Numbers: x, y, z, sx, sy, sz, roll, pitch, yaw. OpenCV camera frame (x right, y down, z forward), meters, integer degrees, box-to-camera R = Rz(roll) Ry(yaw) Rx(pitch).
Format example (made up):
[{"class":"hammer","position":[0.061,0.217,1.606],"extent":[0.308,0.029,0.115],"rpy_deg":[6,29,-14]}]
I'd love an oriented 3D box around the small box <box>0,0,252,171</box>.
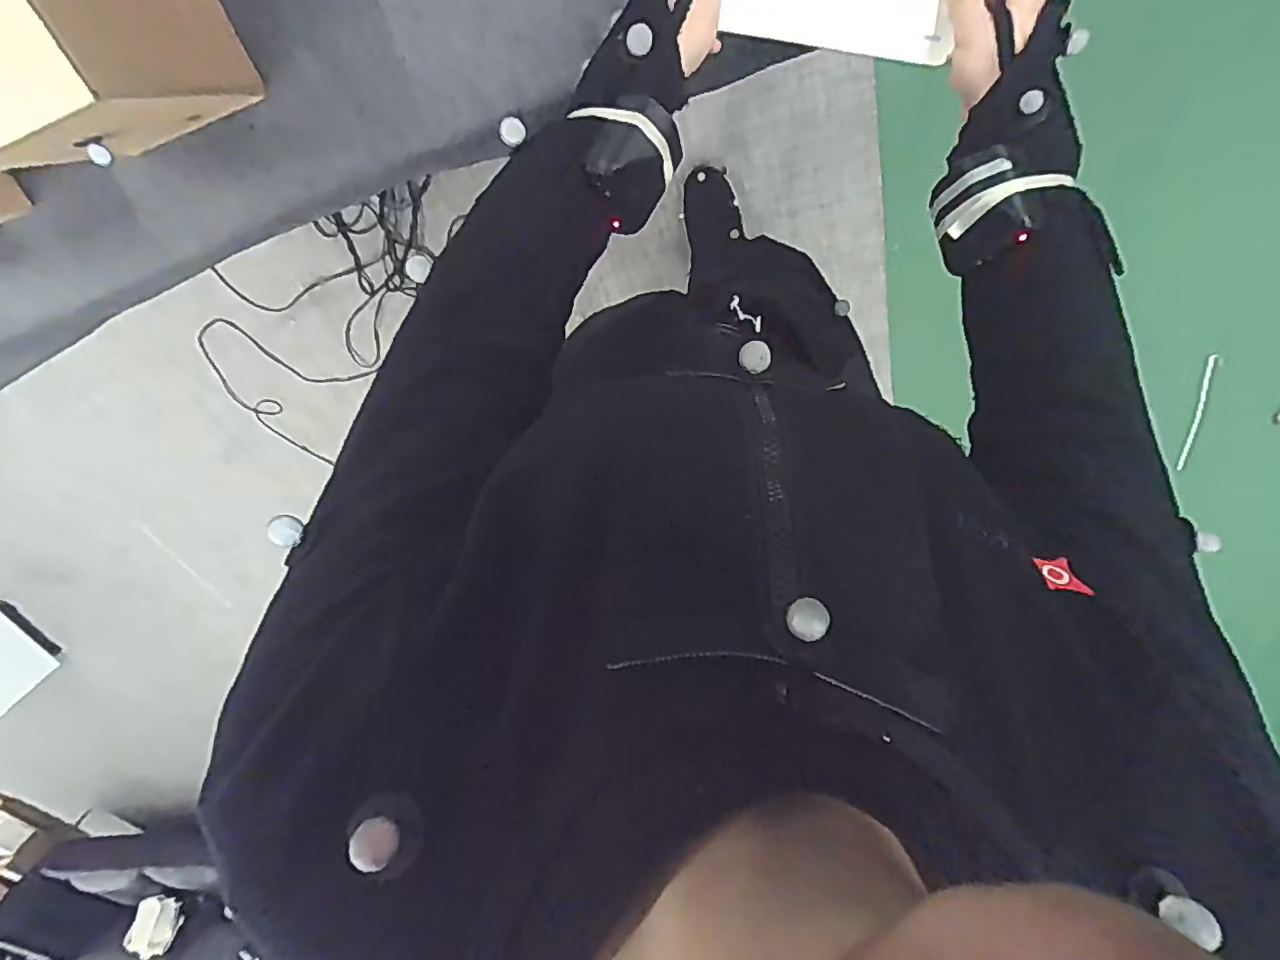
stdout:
[{"class":"small box","position":[-0.430,-0.335,0.374],"extent":[0.168,0.176,0.179],"rpy_deg":[-9,123,15]}]
